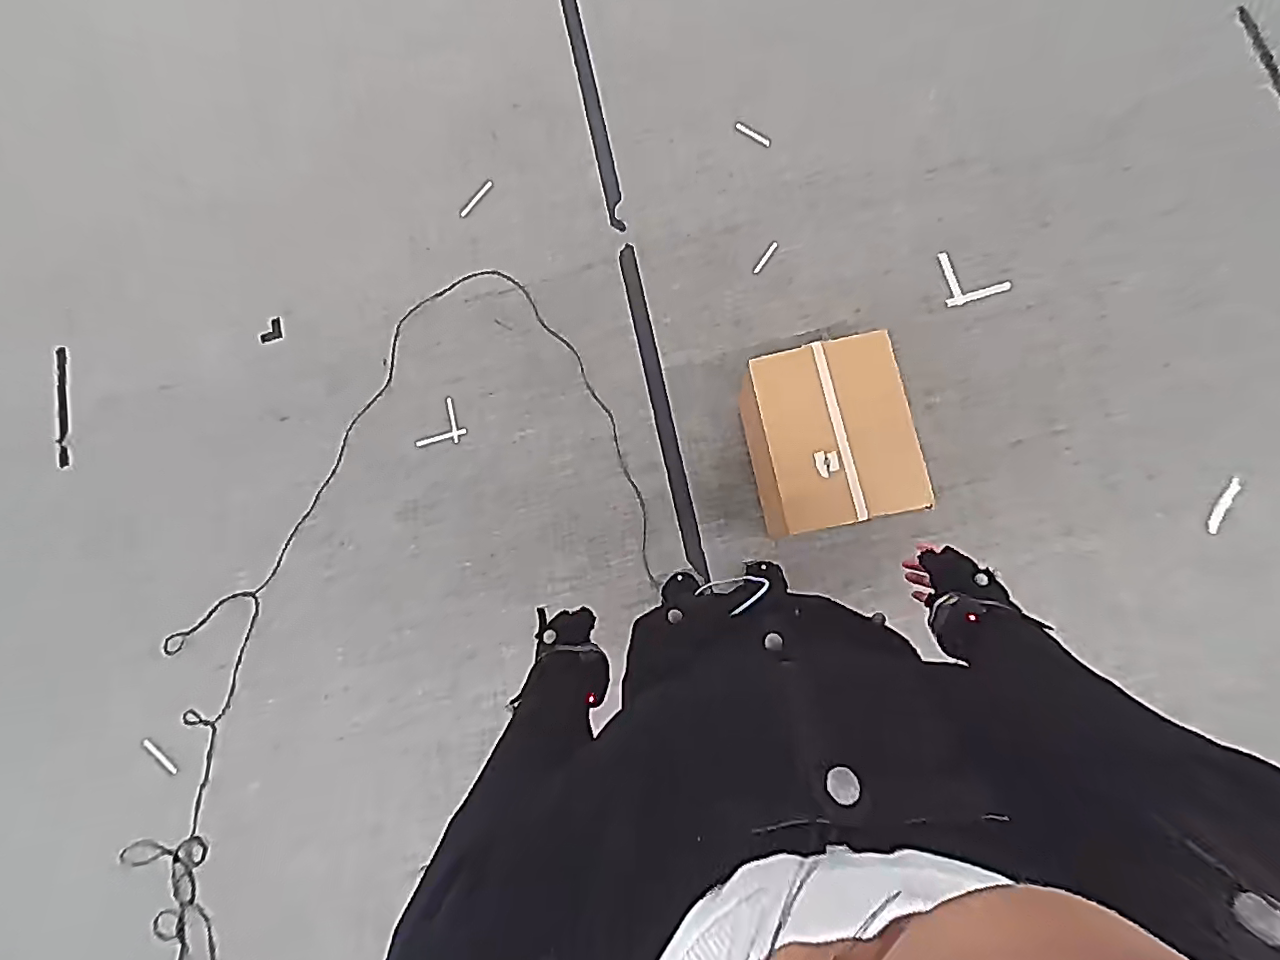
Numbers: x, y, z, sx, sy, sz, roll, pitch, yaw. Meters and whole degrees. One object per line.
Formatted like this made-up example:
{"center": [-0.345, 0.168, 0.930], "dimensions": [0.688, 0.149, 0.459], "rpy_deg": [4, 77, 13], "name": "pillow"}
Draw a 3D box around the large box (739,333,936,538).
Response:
{"center": [0.451, -0.086, 1.327], "dimensions": [0.320, 0.320, 0.408], "rpy_deg": [-13, 82, 5], "name": "large box"}
